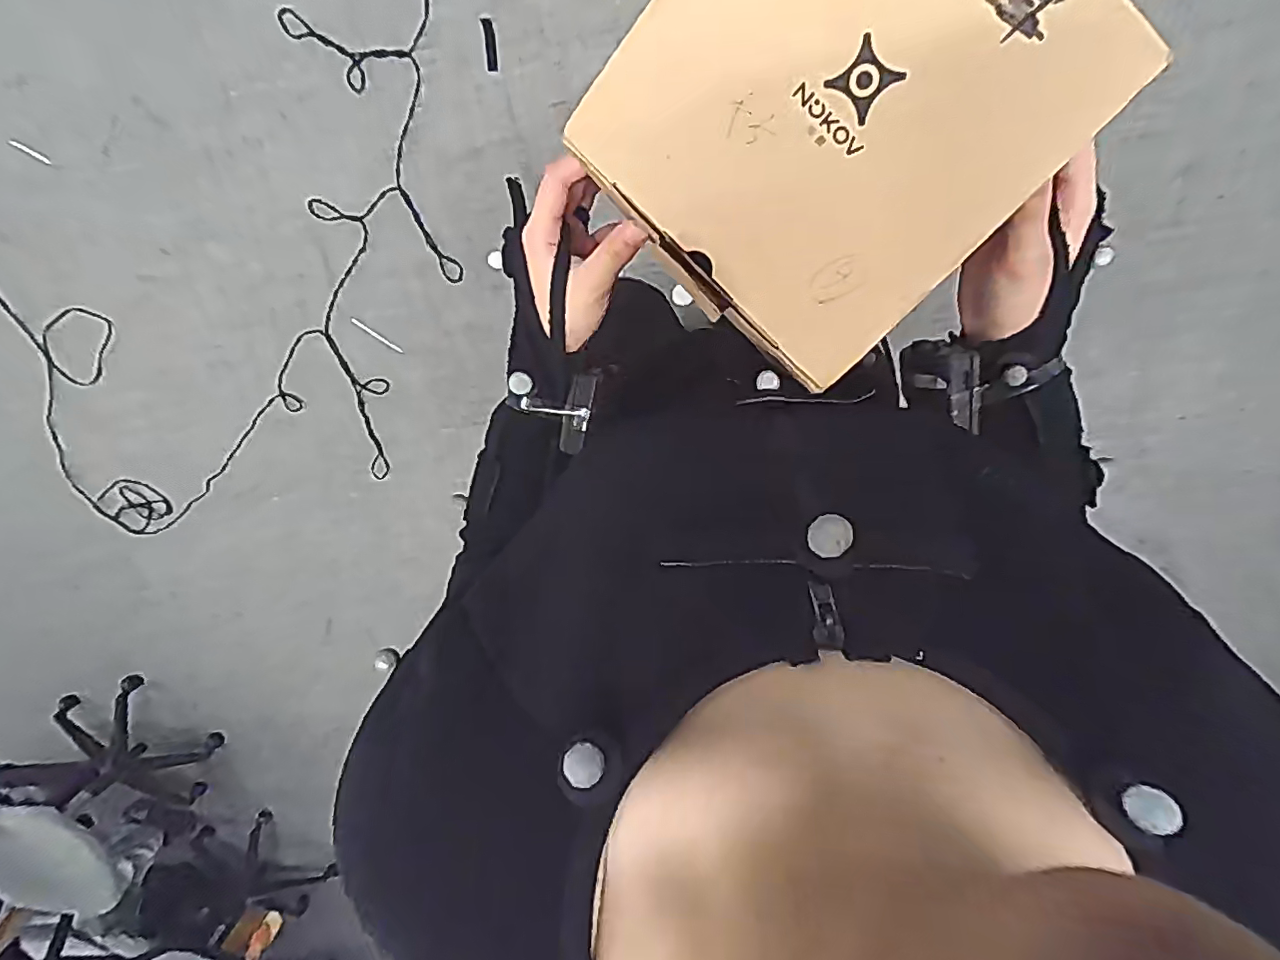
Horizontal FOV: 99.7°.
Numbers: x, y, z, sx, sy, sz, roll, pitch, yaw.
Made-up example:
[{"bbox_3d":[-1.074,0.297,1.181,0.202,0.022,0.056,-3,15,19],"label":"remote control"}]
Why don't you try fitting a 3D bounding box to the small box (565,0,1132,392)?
[{"bbox_3d":[0.090,-0.178,0.305,0.168,0.176,0.179,41,108,-7],"label":"small box"}]
